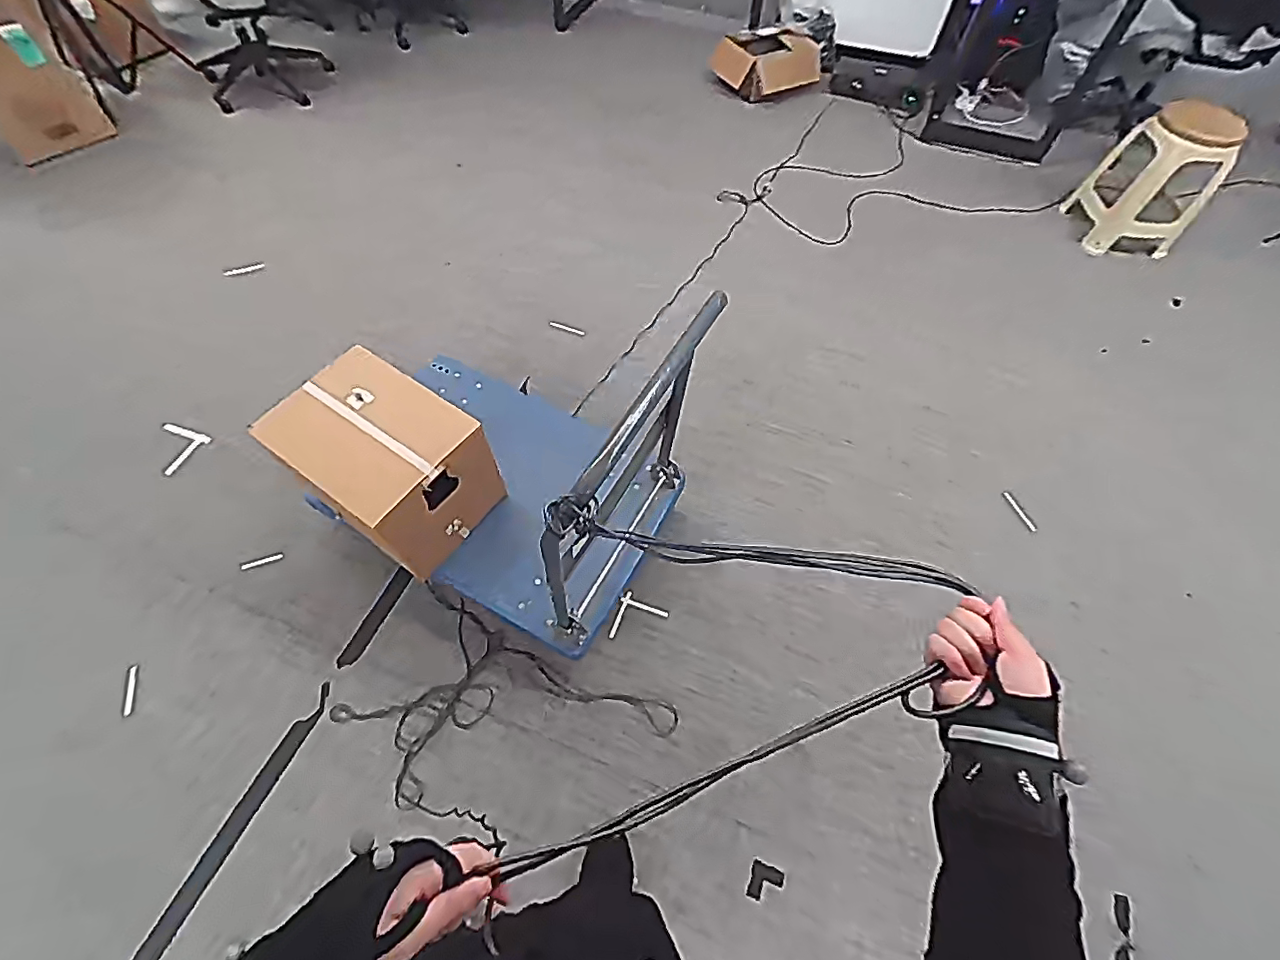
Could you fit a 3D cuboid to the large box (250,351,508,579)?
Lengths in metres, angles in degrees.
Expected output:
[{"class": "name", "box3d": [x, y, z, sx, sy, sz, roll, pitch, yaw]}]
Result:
[{"class": "large box", "box3d": [-0.589, -0.030, 1.296, 0.408, 0.320, 0.320, 31, 63, 16]}]
